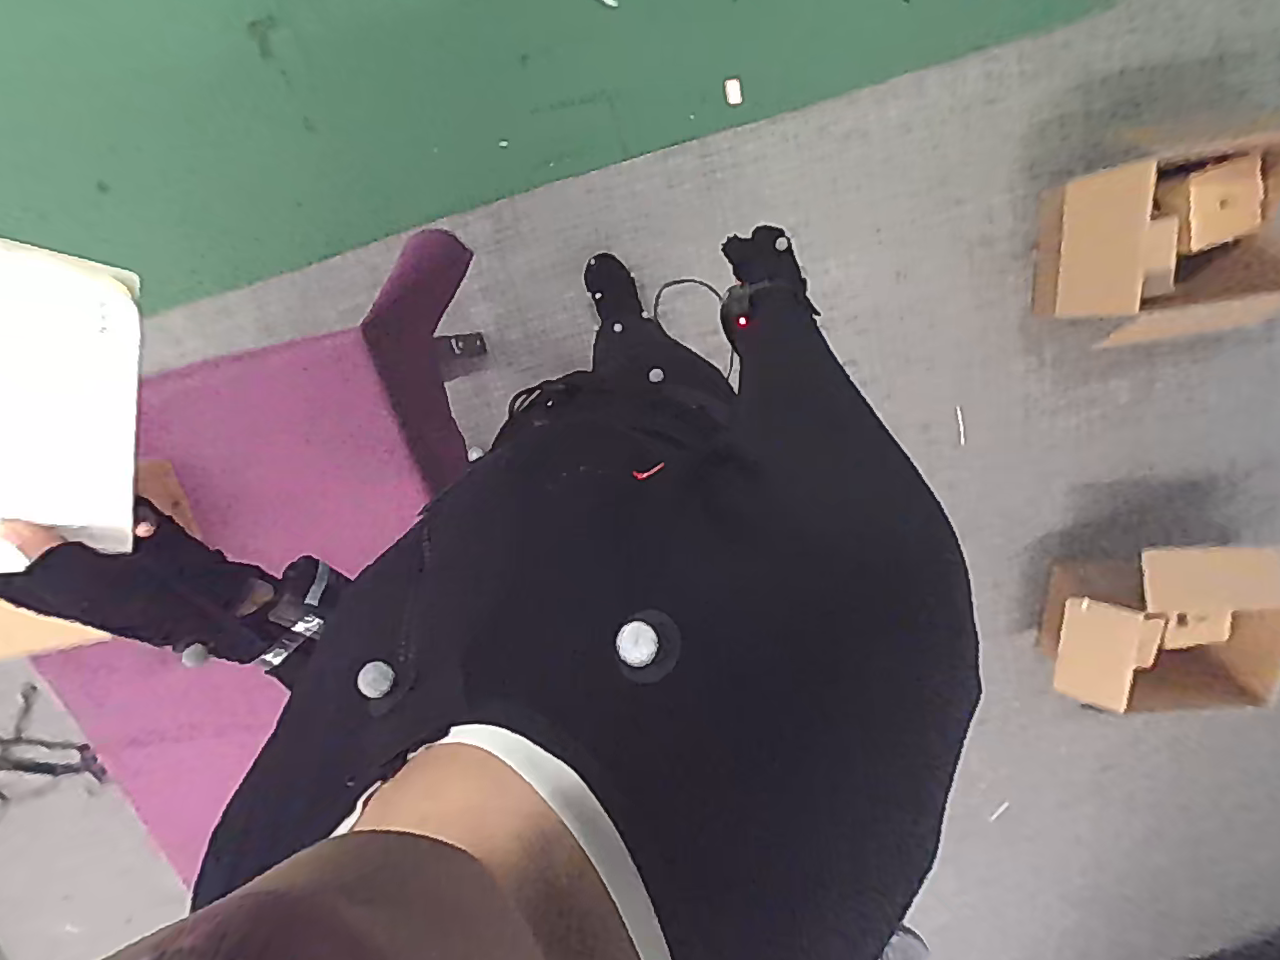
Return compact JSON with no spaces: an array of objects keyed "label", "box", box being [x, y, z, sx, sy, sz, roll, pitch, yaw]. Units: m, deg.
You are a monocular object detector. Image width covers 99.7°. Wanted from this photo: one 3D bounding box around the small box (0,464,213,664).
[{"label":"small box","box":[-0.663,0.090,0.628,0.179,0.176,0.168,-11,107,0]}]
